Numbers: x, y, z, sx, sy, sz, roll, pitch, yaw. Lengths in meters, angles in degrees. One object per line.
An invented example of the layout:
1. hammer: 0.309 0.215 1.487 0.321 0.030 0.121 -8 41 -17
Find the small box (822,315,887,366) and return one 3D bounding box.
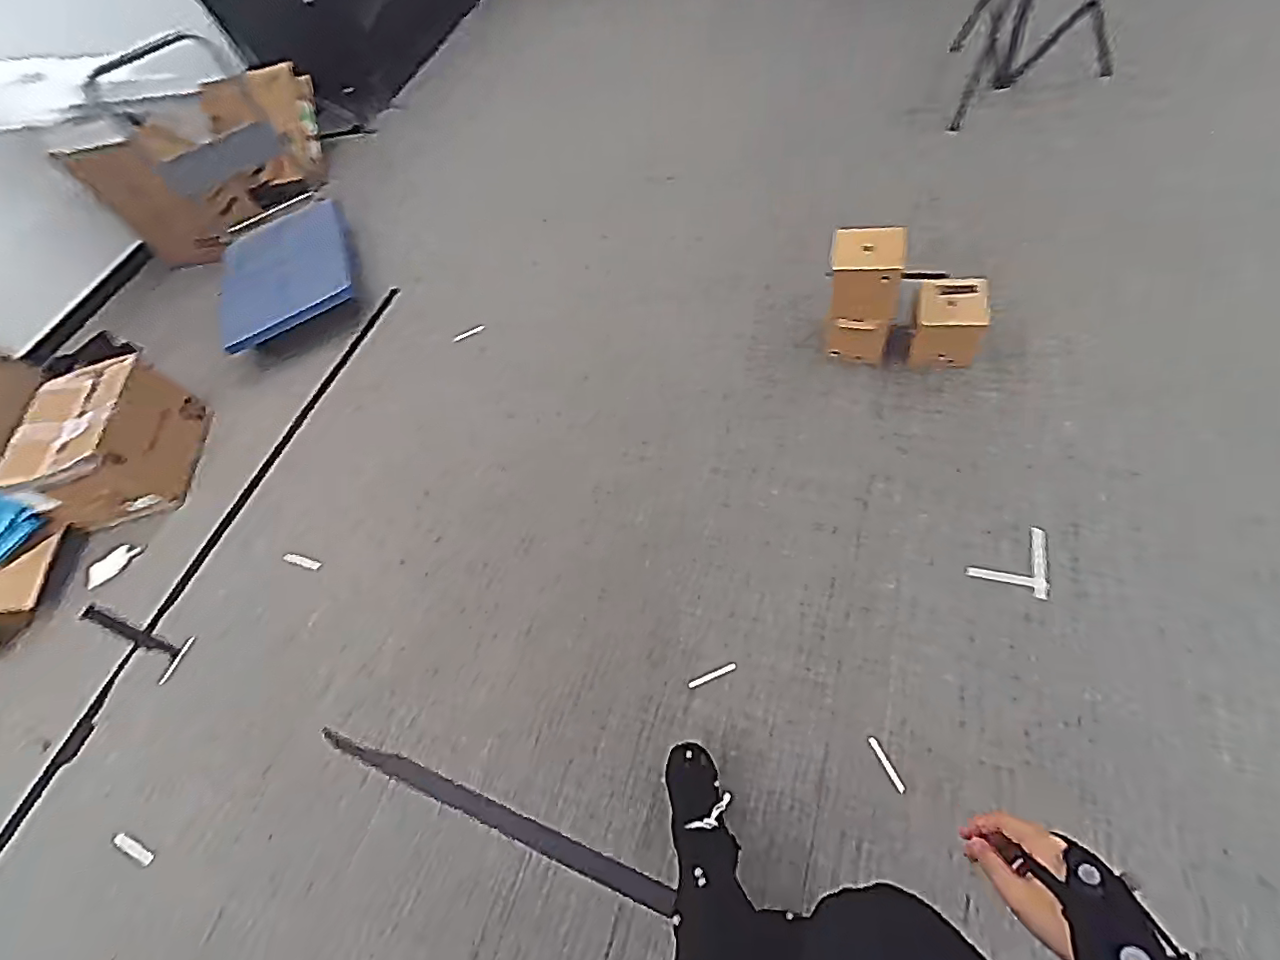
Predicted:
1. small box: 0.645 -0.465 1.617 0.168 0.176 0.179 12 63 22

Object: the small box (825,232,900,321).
1. small box: 0.607 -0.555 1.487 0.179 0.176 0.168 6 61 18
